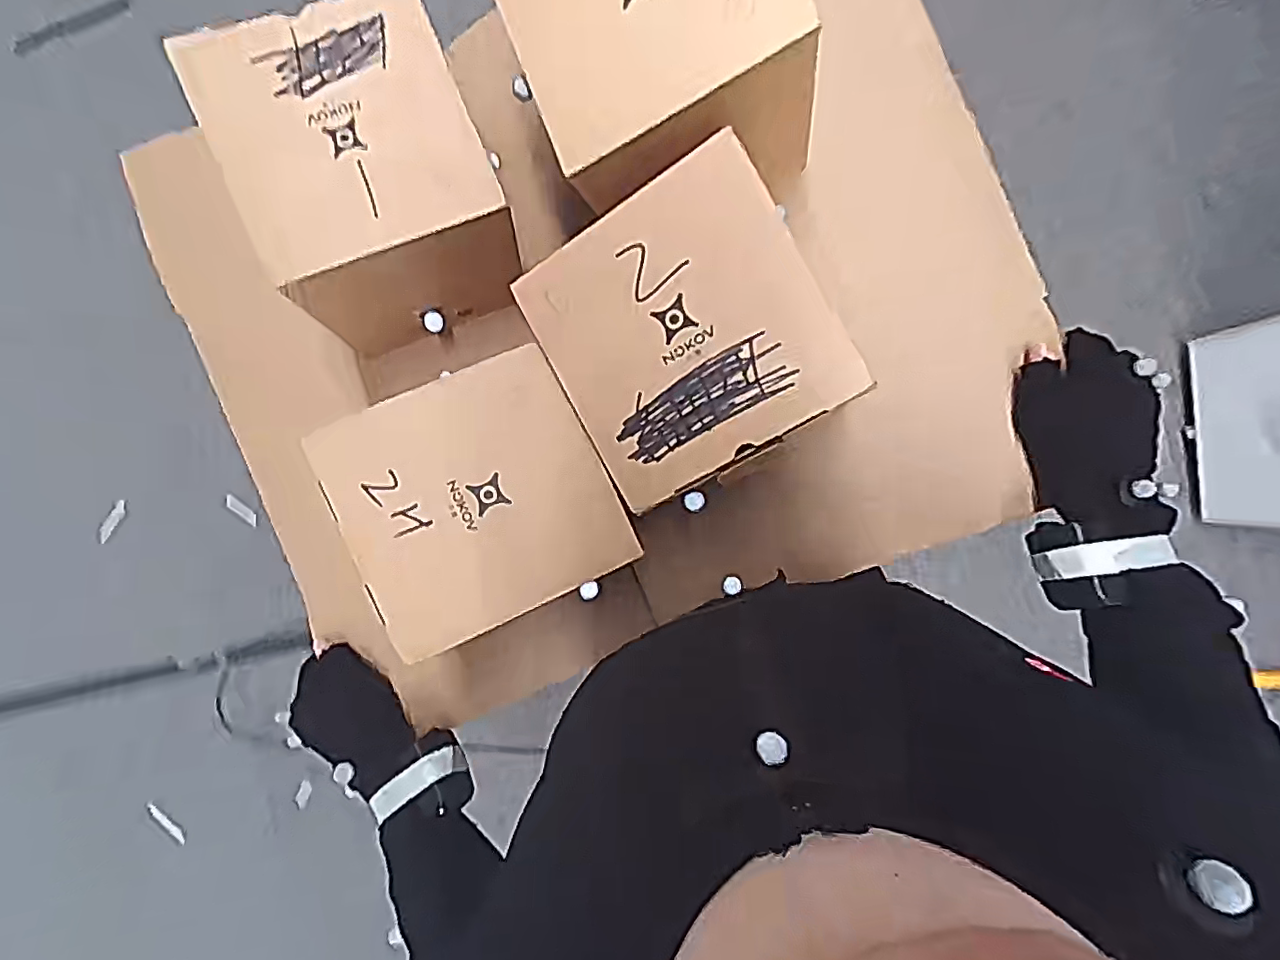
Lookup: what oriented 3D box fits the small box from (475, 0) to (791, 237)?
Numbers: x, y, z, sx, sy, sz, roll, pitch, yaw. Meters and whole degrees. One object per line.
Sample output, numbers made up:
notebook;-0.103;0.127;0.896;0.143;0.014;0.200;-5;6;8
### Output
small box;0.002;-0.307;0.398;0.168;0.176;0.179;-24;88;15
